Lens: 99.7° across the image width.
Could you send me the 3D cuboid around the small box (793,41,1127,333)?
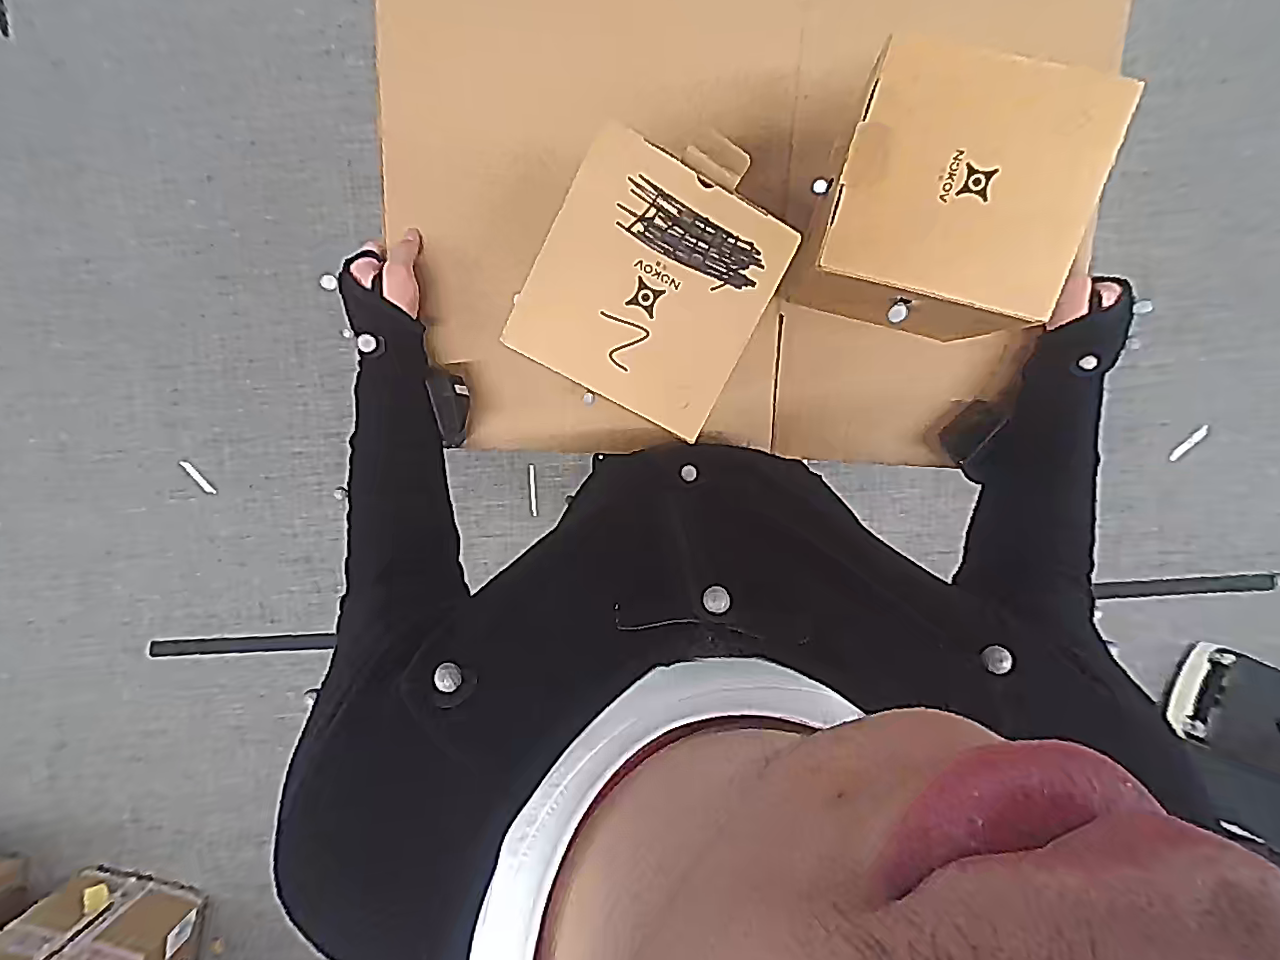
[{"bbox_3d":[0.253,-0.235,0.482,0.179,0.176,0.168,16,101,6],"label":"small box"}]
